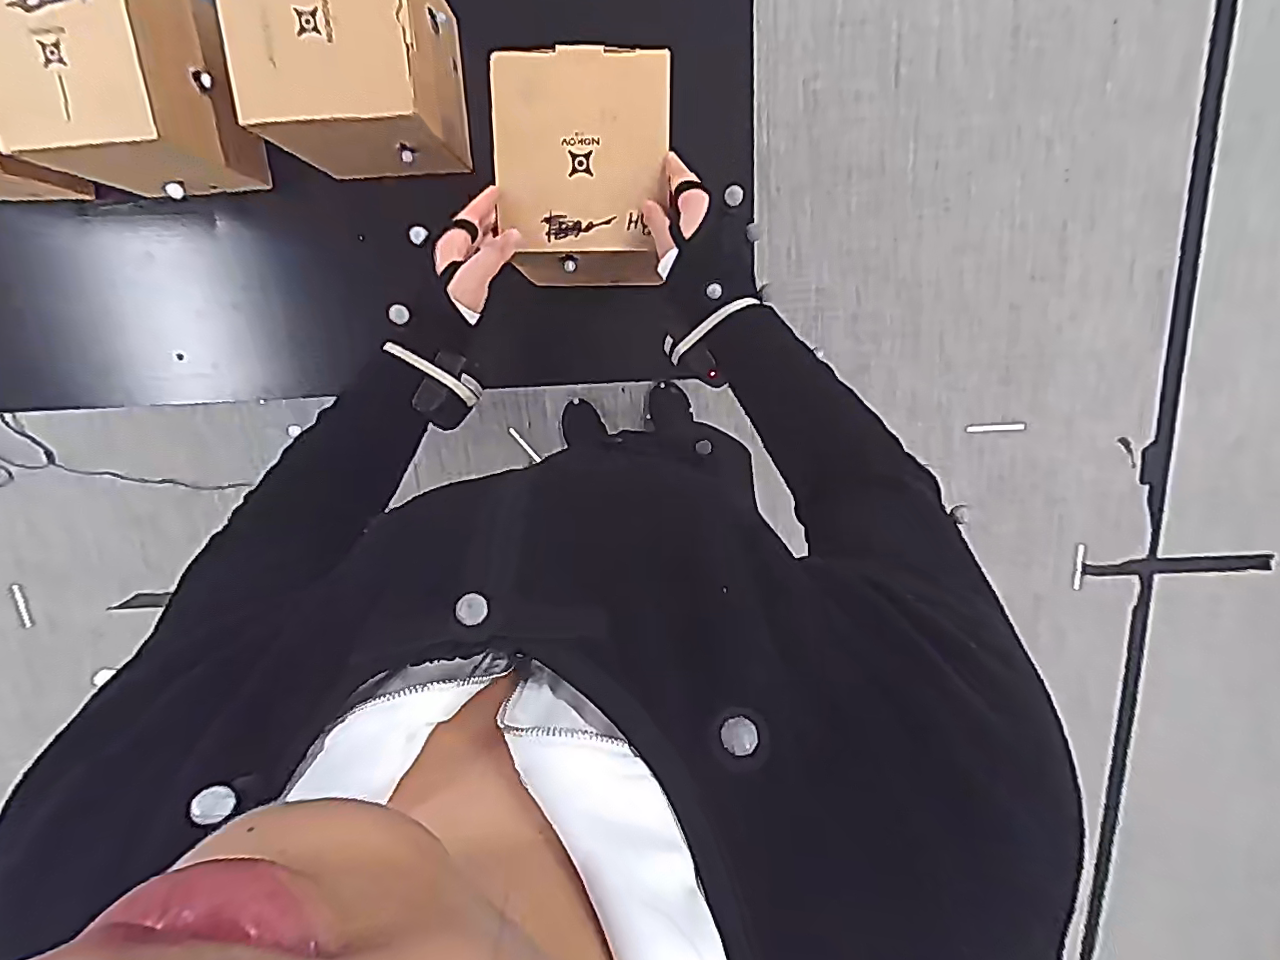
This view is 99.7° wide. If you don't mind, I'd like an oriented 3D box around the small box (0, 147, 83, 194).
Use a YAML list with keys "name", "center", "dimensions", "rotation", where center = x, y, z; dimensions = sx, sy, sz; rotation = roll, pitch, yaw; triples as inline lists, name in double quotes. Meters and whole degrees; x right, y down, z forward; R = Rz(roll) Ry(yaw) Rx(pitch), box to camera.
- name: "small box"
  center: [-0.775, -0.425, 0.588]
  dimensions: [0.168, 0.176, 0.179]
  rotation: [0, 103, 0]

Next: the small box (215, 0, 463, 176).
- name: "small box"
  center: [-0.302, -0.443, 0.578]
  dimensions: [0.179, 0.176, 0.168]
  rotation: [-3, 102, 3]

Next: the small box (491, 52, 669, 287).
- name: "small box"
  center: [-0.055, -0.317, 0.585]
  dimensions: [0.168, 0.176, 0.179]
  rotation: [0, 100, 1]

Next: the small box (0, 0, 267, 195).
- name: "small box"
  center: [-0.550, -0.429, 0.583]
  dimensions: [0.168, 0.176, 0.179]
  rotation: [-4, 105, 1]
